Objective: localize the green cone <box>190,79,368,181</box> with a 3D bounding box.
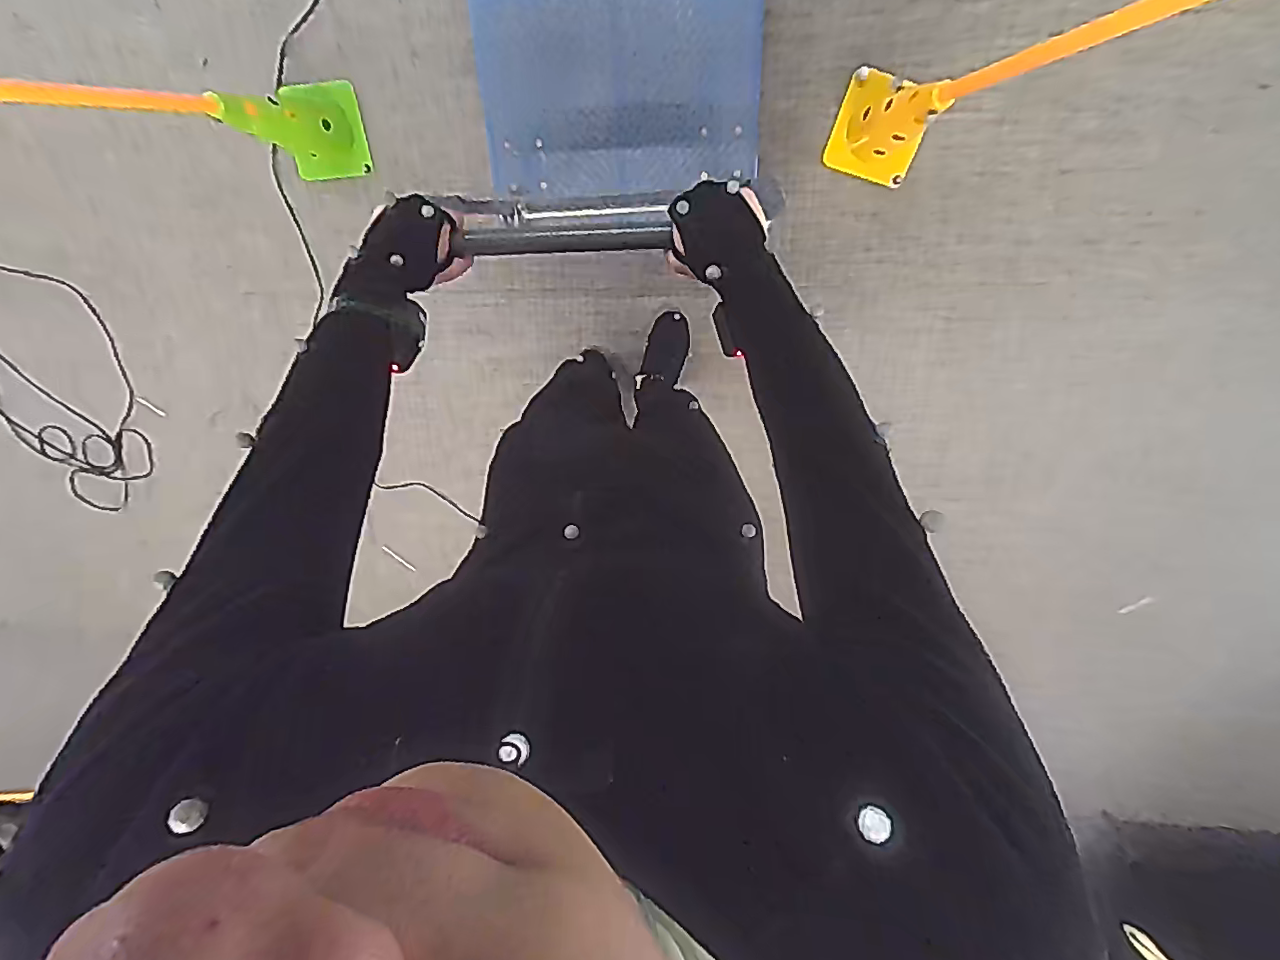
[{"bbox_3d":[-0.803,-0.786,1.177,0.202,0.368,0.200,-2,115,8],"label":"green cone"}]
